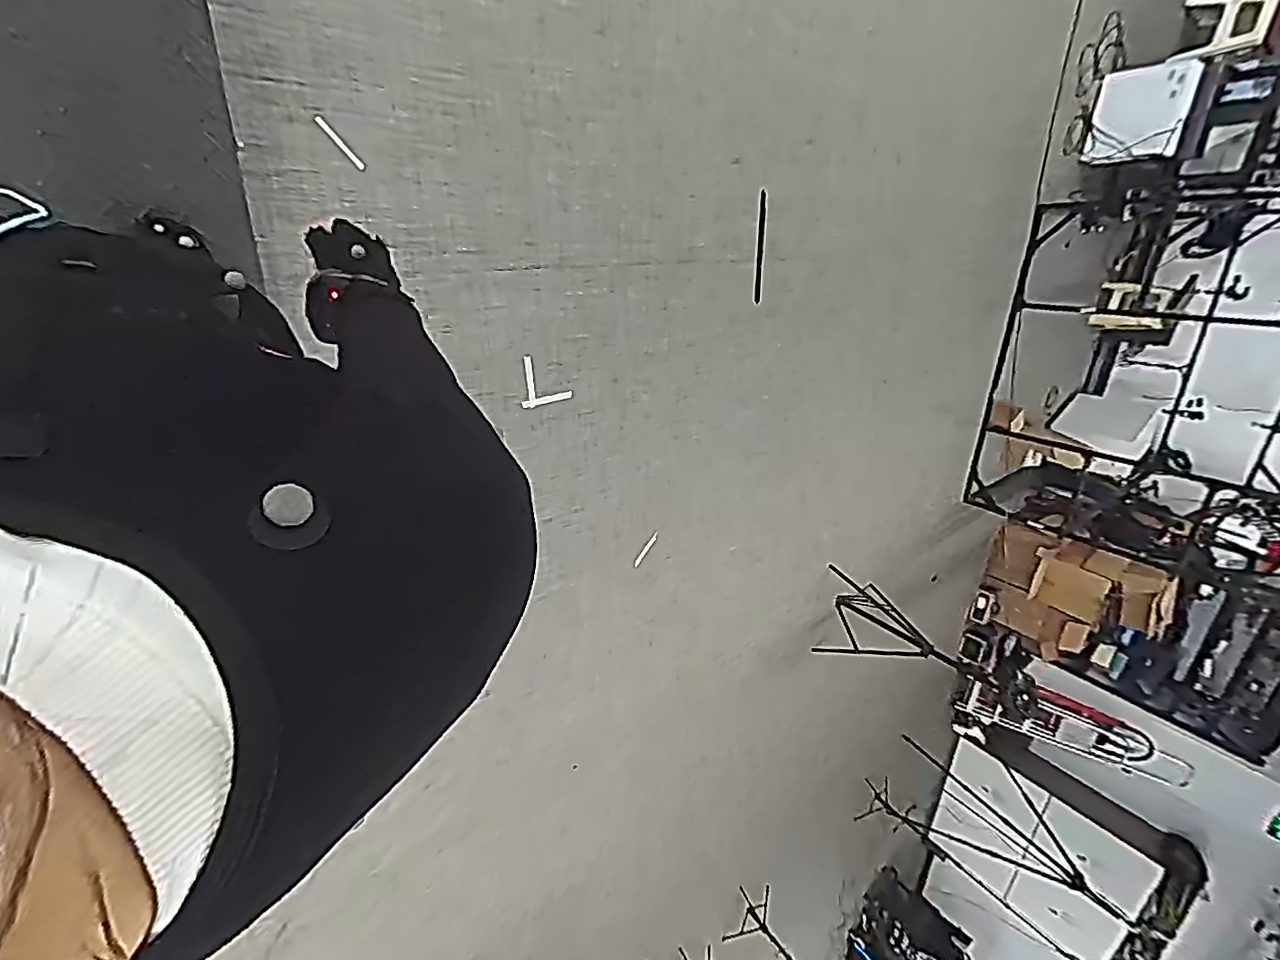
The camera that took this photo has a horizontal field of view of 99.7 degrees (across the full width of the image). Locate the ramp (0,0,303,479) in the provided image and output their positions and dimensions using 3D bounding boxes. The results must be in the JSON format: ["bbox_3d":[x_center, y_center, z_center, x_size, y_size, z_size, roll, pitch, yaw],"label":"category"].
[{"bbox_3d":[-0.968,-0.483,0.951,0.509,0.206,0.991,-18,119,-34],"label":"ramp"}]
